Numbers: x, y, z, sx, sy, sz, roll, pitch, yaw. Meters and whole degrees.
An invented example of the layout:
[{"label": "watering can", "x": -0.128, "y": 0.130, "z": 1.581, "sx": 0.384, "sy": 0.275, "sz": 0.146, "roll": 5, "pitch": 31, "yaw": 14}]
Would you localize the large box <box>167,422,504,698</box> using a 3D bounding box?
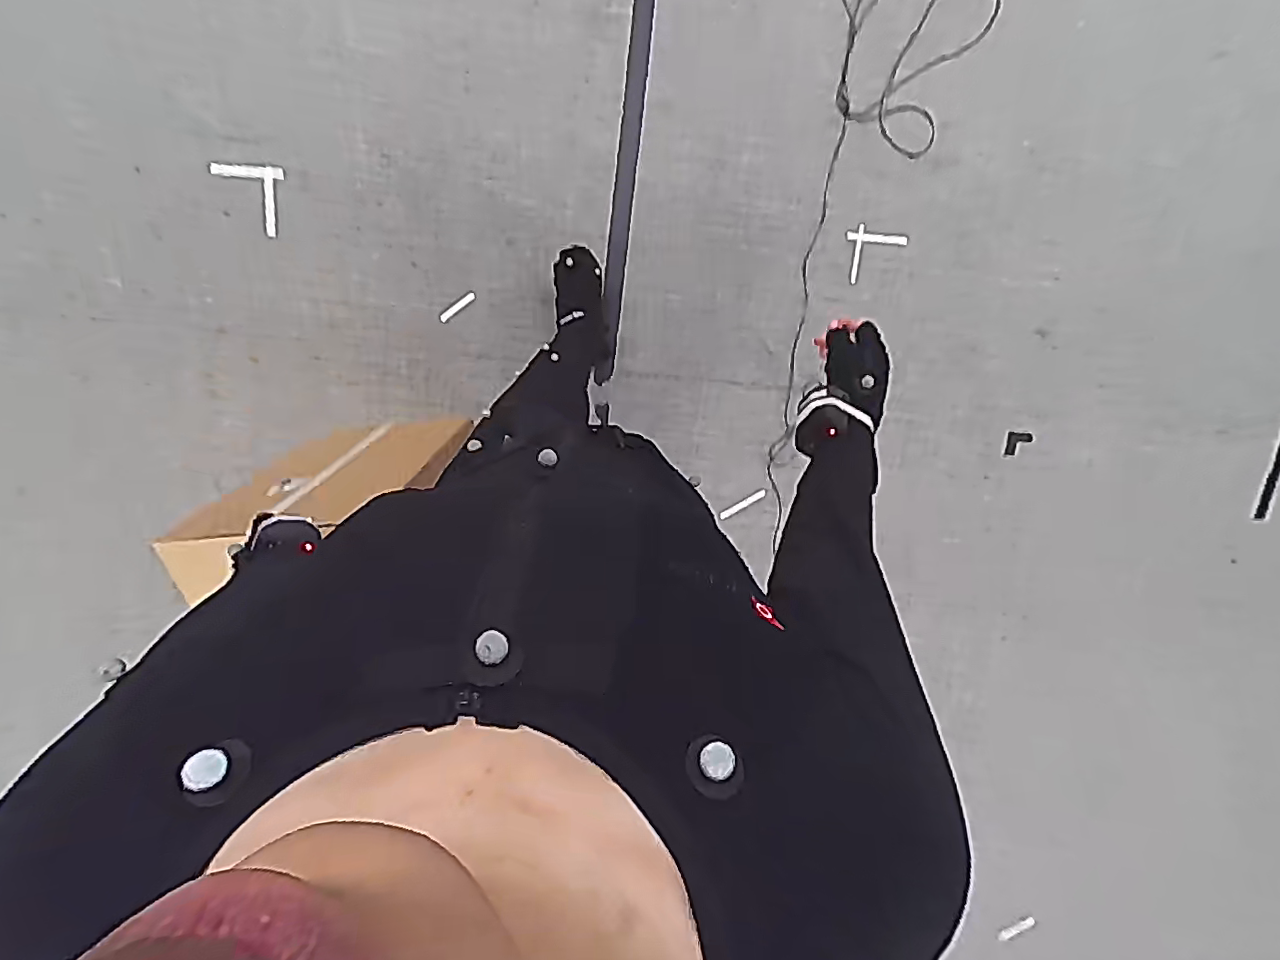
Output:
[{"label": "large box", "x": -0.474, "y": 0.118, "z": 0.966, "sx": 0.320, "sy": 0.408, "sz": 0.320, "roll": -6, "pitch": 115, "yaw": 7}]
